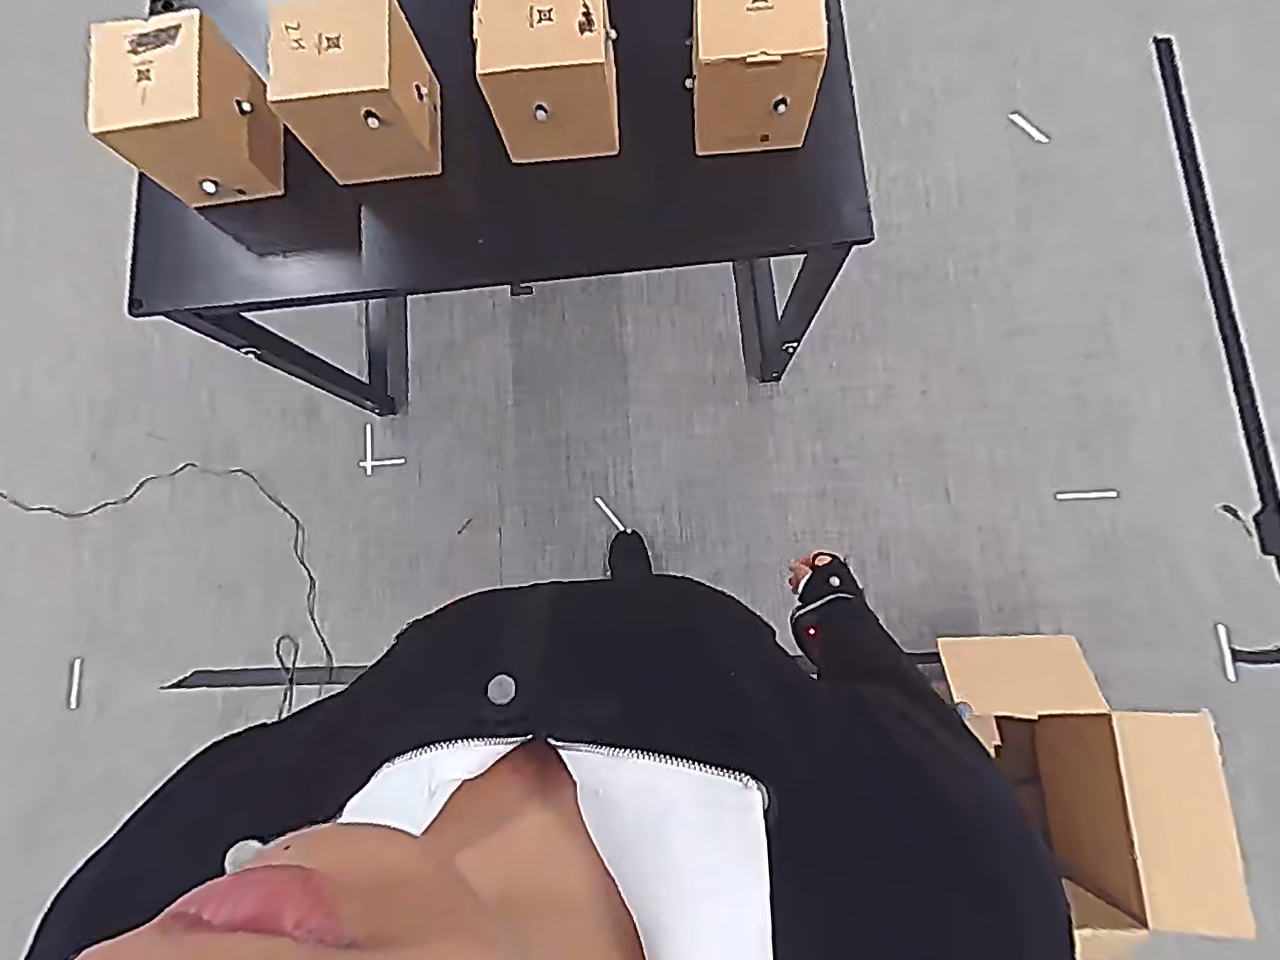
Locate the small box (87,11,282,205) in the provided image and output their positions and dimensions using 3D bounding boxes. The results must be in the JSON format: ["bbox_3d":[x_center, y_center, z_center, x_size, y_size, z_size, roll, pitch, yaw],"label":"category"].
[{"bbox_3d":[-0.693,-0.566,0.842,0.168,0.176,0.179,-6,83,3],"label":"small box"}]

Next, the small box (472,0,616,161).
[{"bbox_3d":[-0.136,-0.611,0.811,0.179,0.176,0.168,-3,82,4],"label":"small box"}]

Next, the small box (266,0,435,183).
[{"bbox_3d":[-0.428,-0.588,0.827,0.179,0.176,0.168,-5,81,3],"label":"small box"}]

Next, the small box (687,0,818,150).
[{"bbox_3d":[0.154,-0.614,0.792,0.168,0.176,0.179,-2,81,3],"label":"small box"}]
